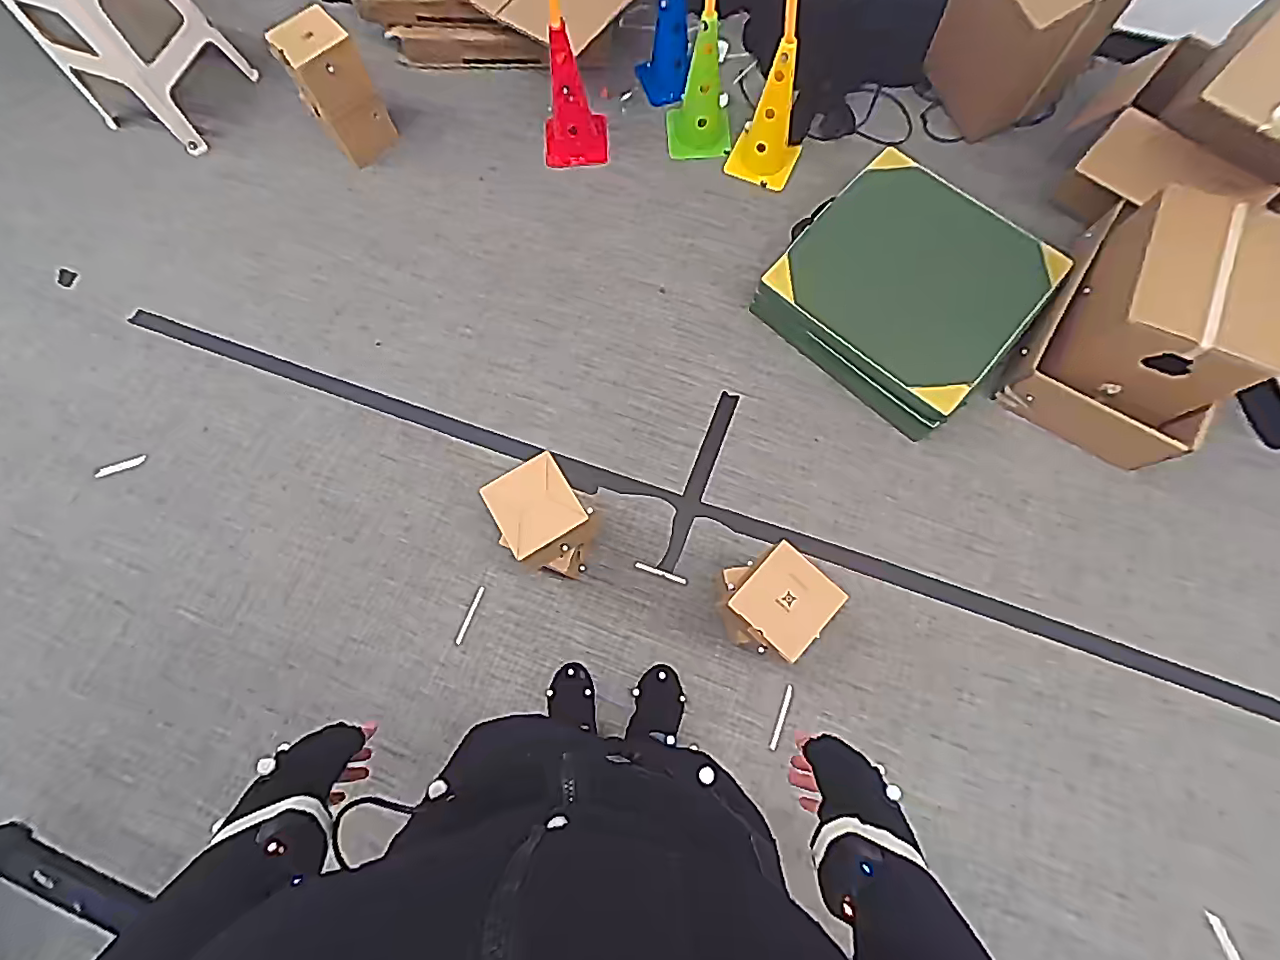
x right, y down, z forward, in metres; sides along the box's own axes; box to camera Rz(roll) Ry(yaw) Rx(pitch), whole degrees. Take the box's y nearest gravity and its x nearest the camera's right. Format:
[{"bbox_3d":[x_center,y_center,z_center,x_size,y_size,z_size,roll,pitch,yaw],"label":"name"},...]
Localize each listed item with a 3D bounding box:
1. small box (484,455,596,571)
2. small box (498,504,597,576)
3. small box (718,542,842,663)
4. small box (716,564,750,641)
[{"bbox_3d":[-0.217,0.075,1.184,0.168,0.176,0.179,-31,75,-8],"label":"small box"},{"bbox_3d":[-0.218,0.131,1.342,0.179,0.176,0.168,22,75,8],"label":"small box"},{"bbox_3d":[0.279,0.256,1.128,0.168,0.176,0.179,43,79,10],"label":"small box"},{"bbox_3d":[0.281,0.288,1.289,0.179,0.176,0.168,-9,76,-1],"label":"small box"}]
